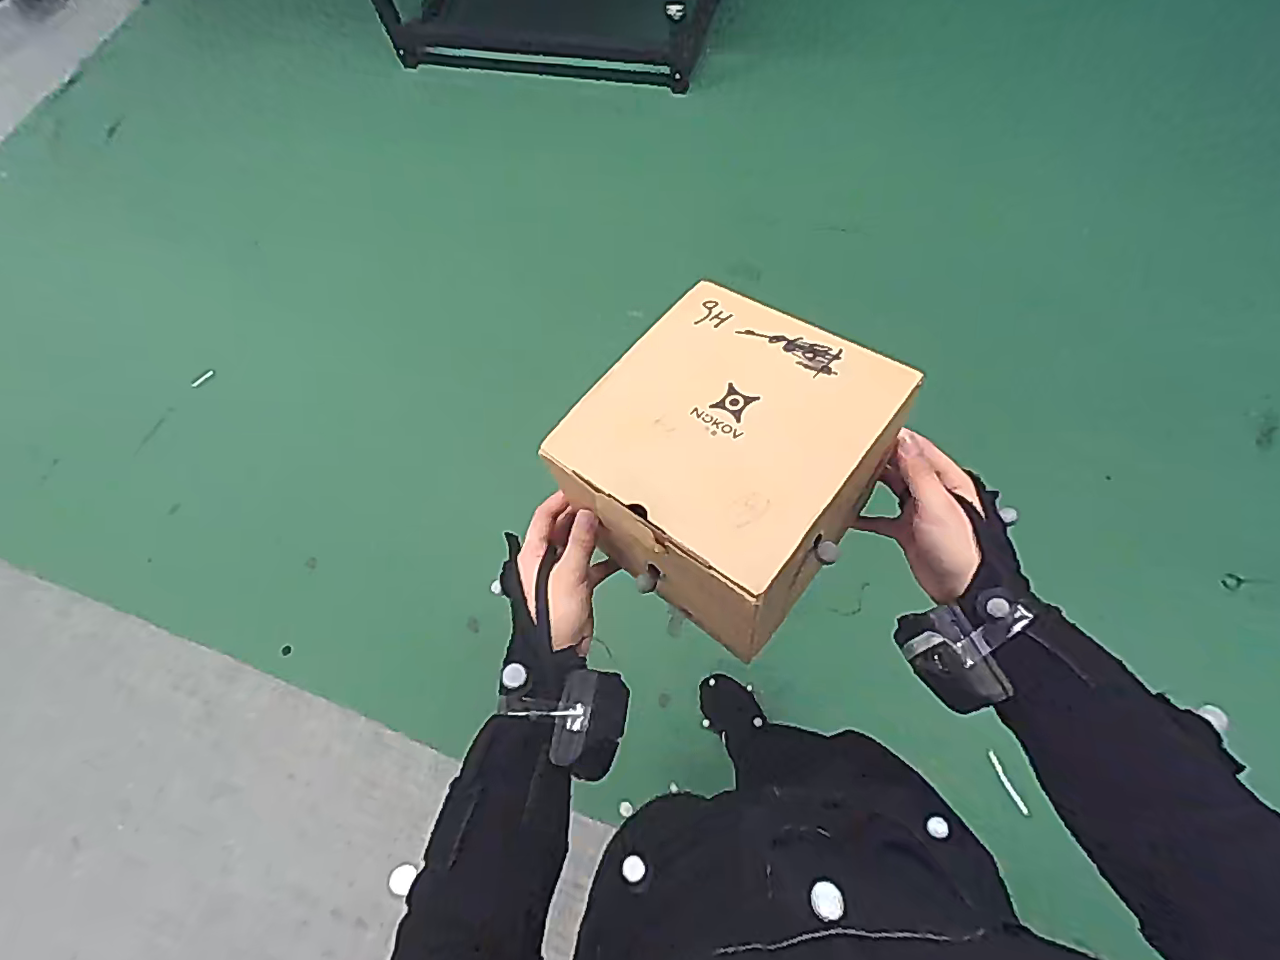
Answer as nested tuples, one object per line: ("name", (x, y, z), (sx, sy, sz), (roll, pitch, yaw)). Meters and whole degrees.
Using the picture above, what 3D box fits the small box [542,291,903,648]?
("small box", (0.063, 0.001, 0.409), (0.168, 0.176, 0.179), (33, 73, 25))
